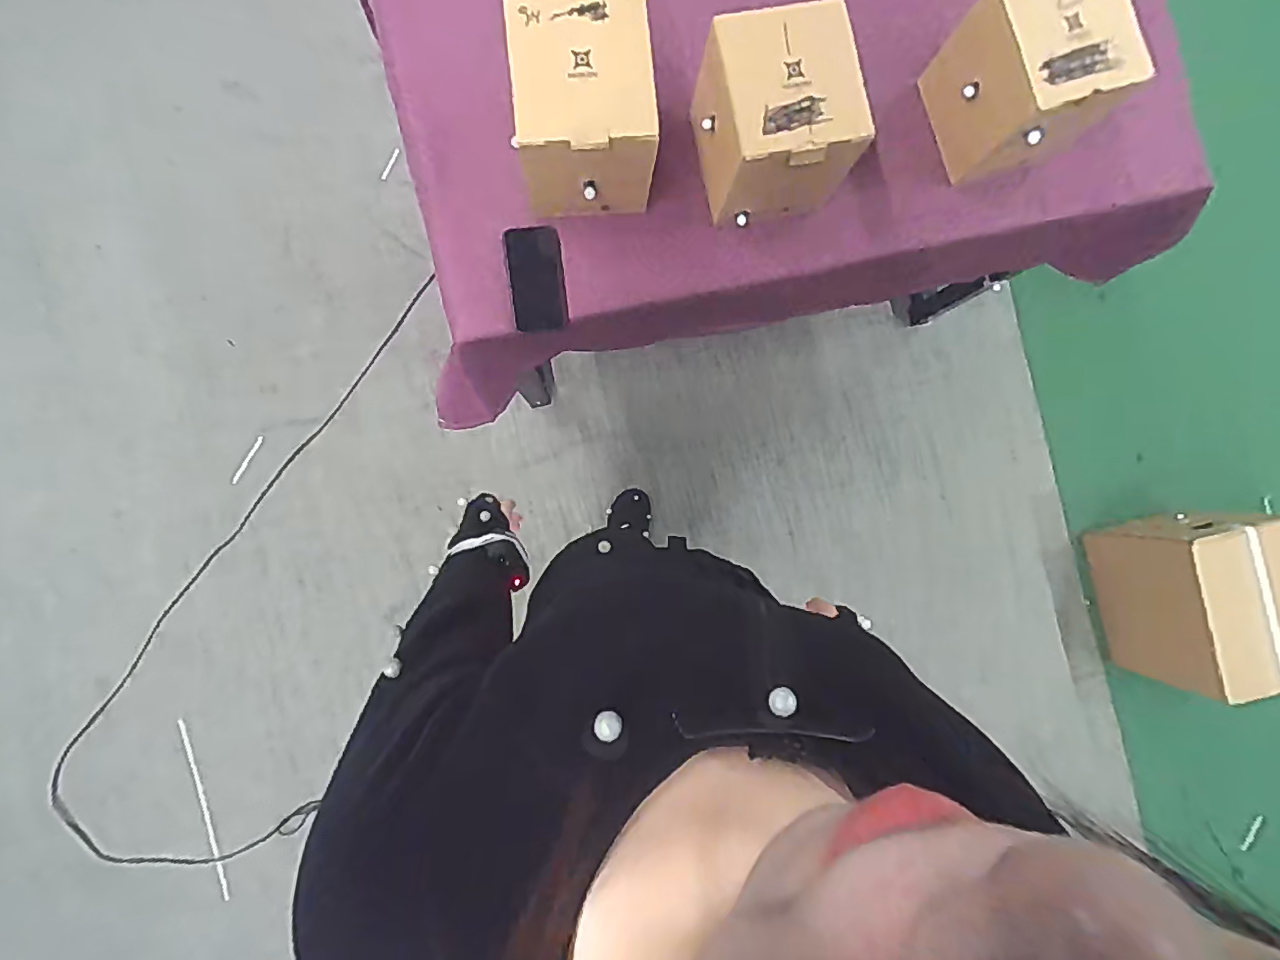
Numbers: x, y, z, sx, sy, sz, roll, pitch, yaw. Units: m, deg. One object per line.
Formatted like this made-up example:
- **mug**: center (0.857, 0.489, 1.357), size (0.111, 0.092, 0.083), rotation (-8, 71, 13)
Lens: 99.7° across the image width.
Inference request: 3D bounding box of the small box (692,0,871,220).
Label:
- **small box**: center (0.175, -0.471, 0.719), size (0.168, 0.176, 0.179), rotation (-12, 89, -5)

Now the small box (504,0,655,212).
- **small box**: center (-0.074, -0.468, 0.701), size (0.168, 0.176, 0.179), rotation (-5, 89, -4)
